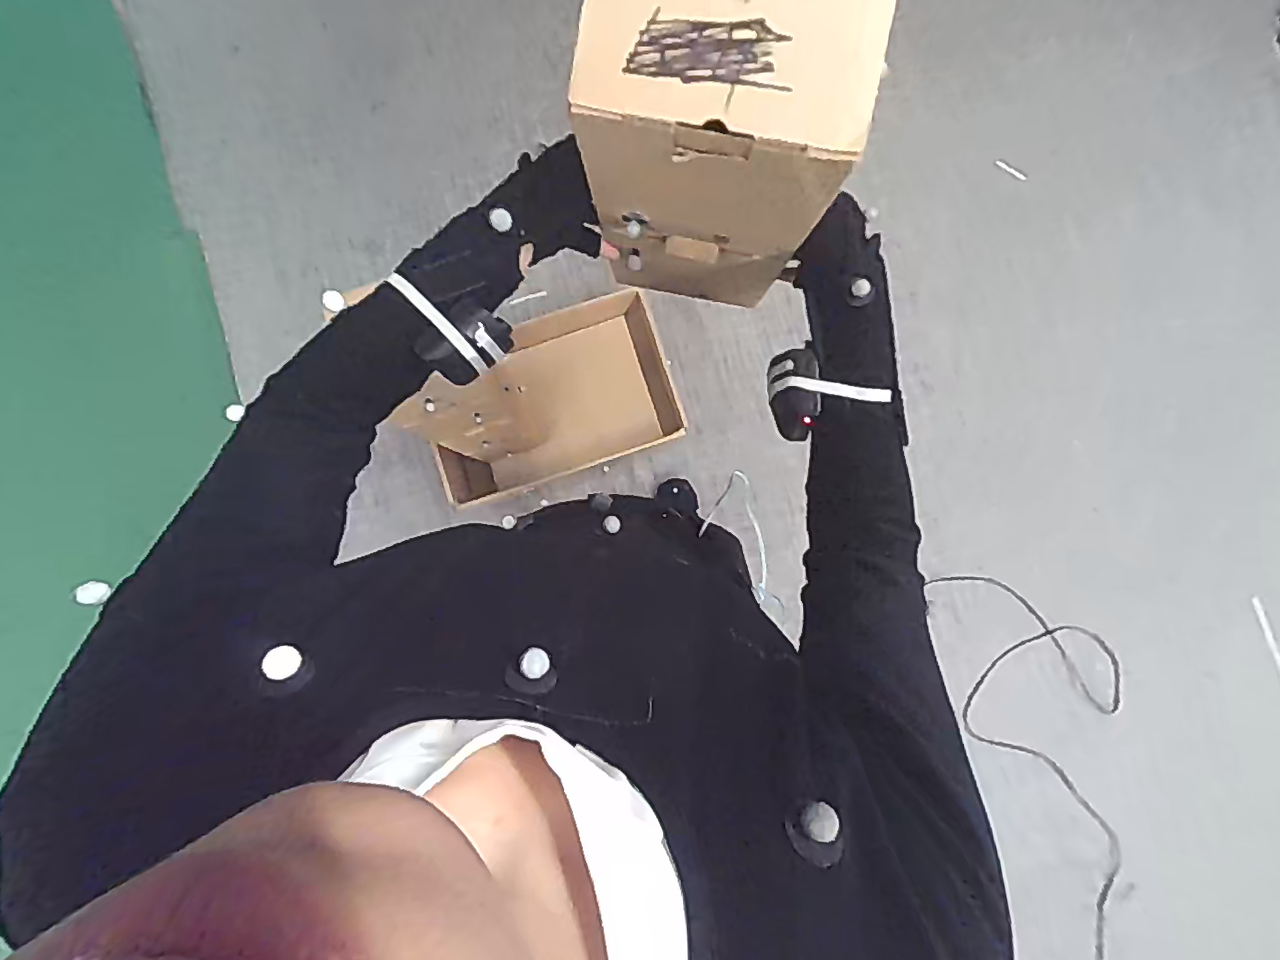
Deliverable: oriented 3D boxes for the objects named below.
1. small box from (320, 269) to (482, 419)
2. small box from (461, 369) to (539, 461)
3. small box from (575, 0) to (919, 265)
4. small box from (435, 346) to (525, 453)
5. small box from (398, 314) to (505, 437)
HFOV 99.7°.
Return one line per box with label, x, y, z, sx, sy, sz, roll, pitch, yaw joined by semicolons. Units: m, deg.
small box;-0.381;-0.210;0.894;0.168;0.176;0.179;-20;86;-3
small box;-0.371;-0.159;1.381;0.168;0.176;0.179;-17;85;0
small box;0.066;-0.268;0.364;0.168;0.176;0.179;15;95;-1
small box;-0.374;-0.174;1.220;0.168;0.176;0.179;-18;86;-1
small box;-0.380;-0.192;1.058;0.168;0.176;0.179;-19;85;-2
